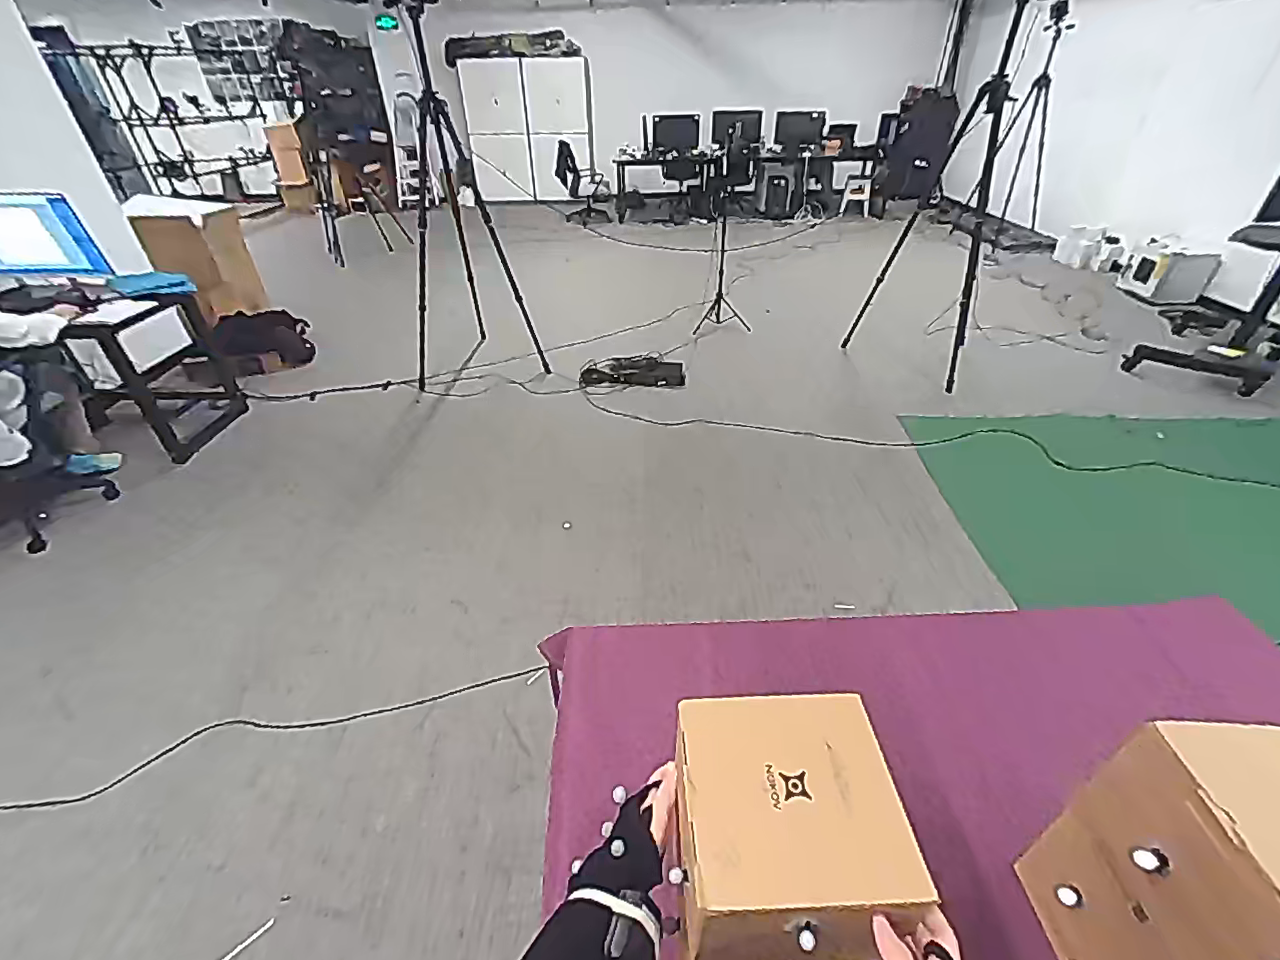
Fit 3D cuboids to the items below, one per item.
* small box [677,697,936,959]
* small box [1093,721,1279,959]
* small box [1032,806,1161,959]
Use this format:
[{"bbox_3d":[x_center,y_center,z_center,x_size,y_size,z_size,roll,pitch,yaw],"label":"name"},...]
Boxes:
[{"bbox_3d":[0.126,0.321,0.493,0.179,0.176,0.168,-2,37,-1],"label":"small box"},{"bbox_3d":[0.541,0.331,0.461,0.179,0.176,0.168,1,36,5],"label":"small box"},{"bbox_3d":[0.552,0.462,0.560,0.179,0.176,0.168,-1,36,0],"label":"small box"}]
